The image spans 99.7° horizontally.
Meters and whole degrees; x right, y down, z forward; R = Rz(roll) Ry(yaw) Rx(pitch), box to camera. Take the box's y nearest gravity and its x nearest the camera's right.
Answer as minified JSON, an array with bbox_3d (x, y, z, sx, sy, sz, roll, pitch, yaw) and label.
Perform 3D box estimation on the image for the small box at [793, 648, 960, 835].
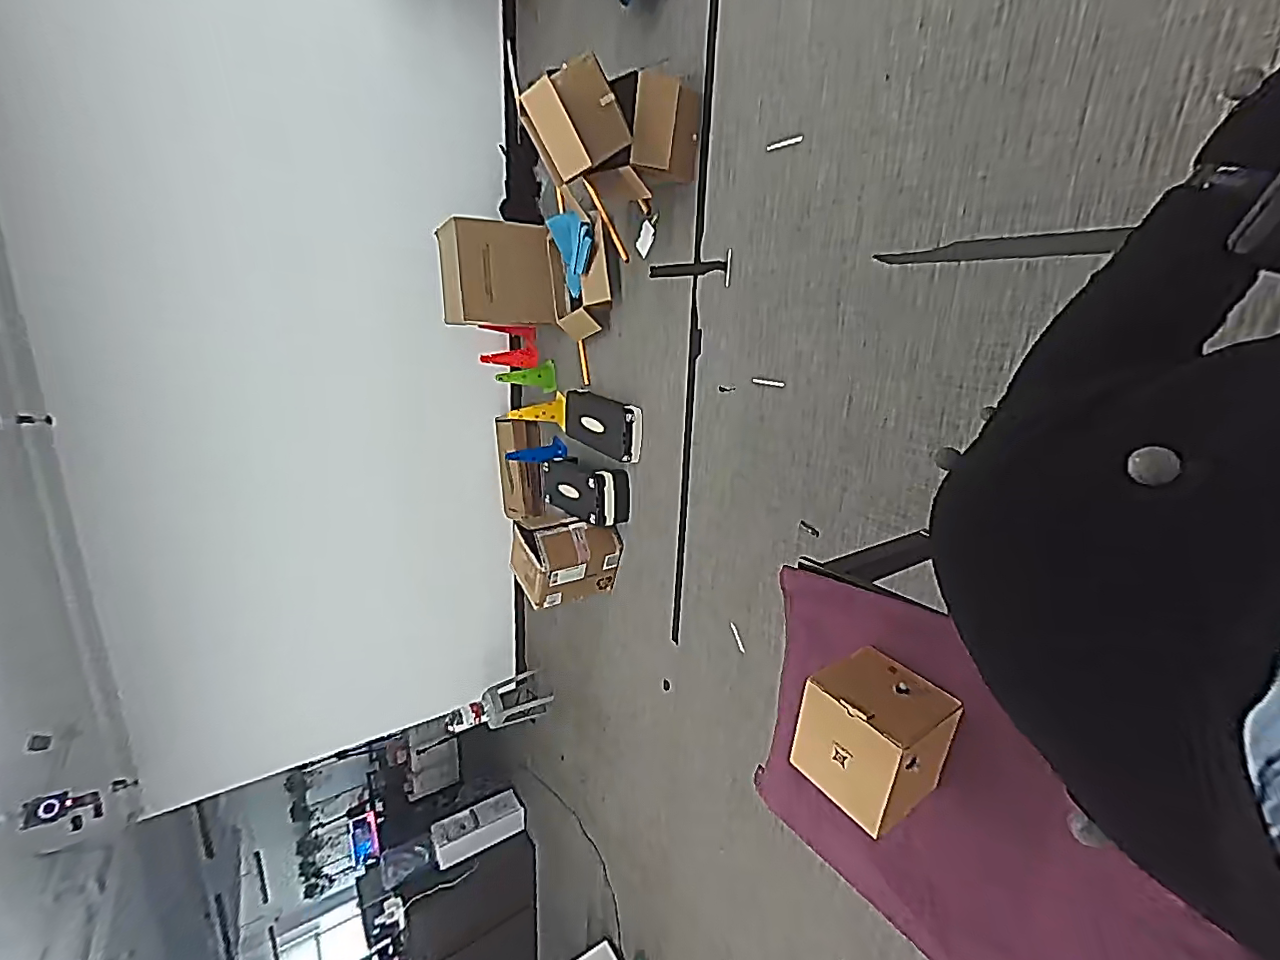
[{"bbox_3d":[0.373,0.402,0.860,0.168,0.176,0.179,29,122,50],"label":"small box"}]
